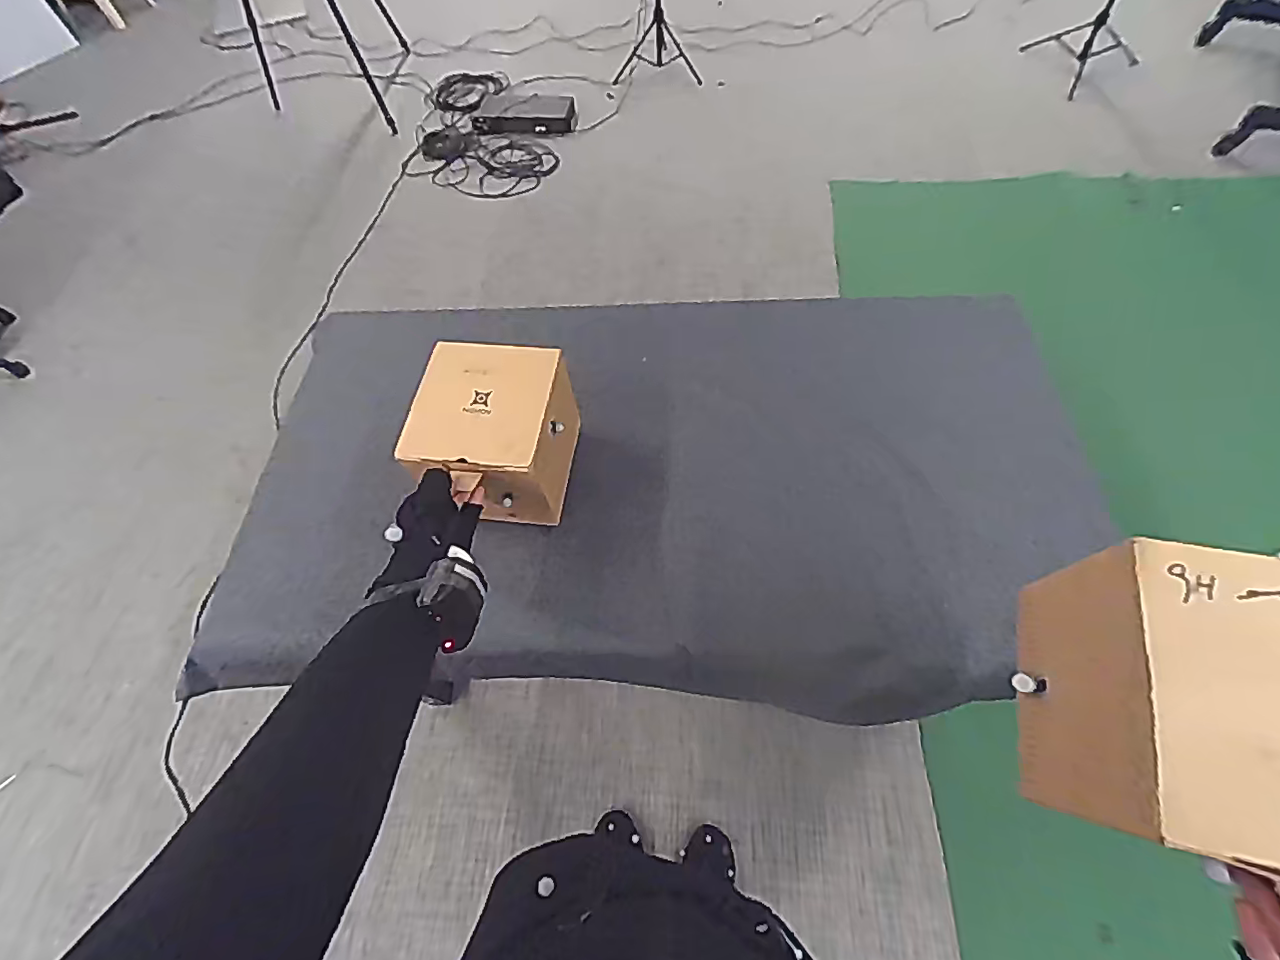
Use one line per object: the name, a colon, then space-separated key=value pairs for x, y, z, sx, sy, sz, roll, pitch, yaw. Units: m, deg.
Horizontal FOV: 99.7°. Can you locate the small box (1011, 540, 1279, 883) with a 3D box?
small box: x=0.384 y=0.160 z=0.371 sx=0.168 sy=0.176 sz=0.179 roll=10 pitch=70 yaw=13

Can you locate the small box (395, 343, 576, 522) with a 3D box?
small box: x=-0.187 y=-0.056 z=0.718 sx=0.168 sy=0.176 sz=0.179 roll=5 pitch=62 yaw=5
